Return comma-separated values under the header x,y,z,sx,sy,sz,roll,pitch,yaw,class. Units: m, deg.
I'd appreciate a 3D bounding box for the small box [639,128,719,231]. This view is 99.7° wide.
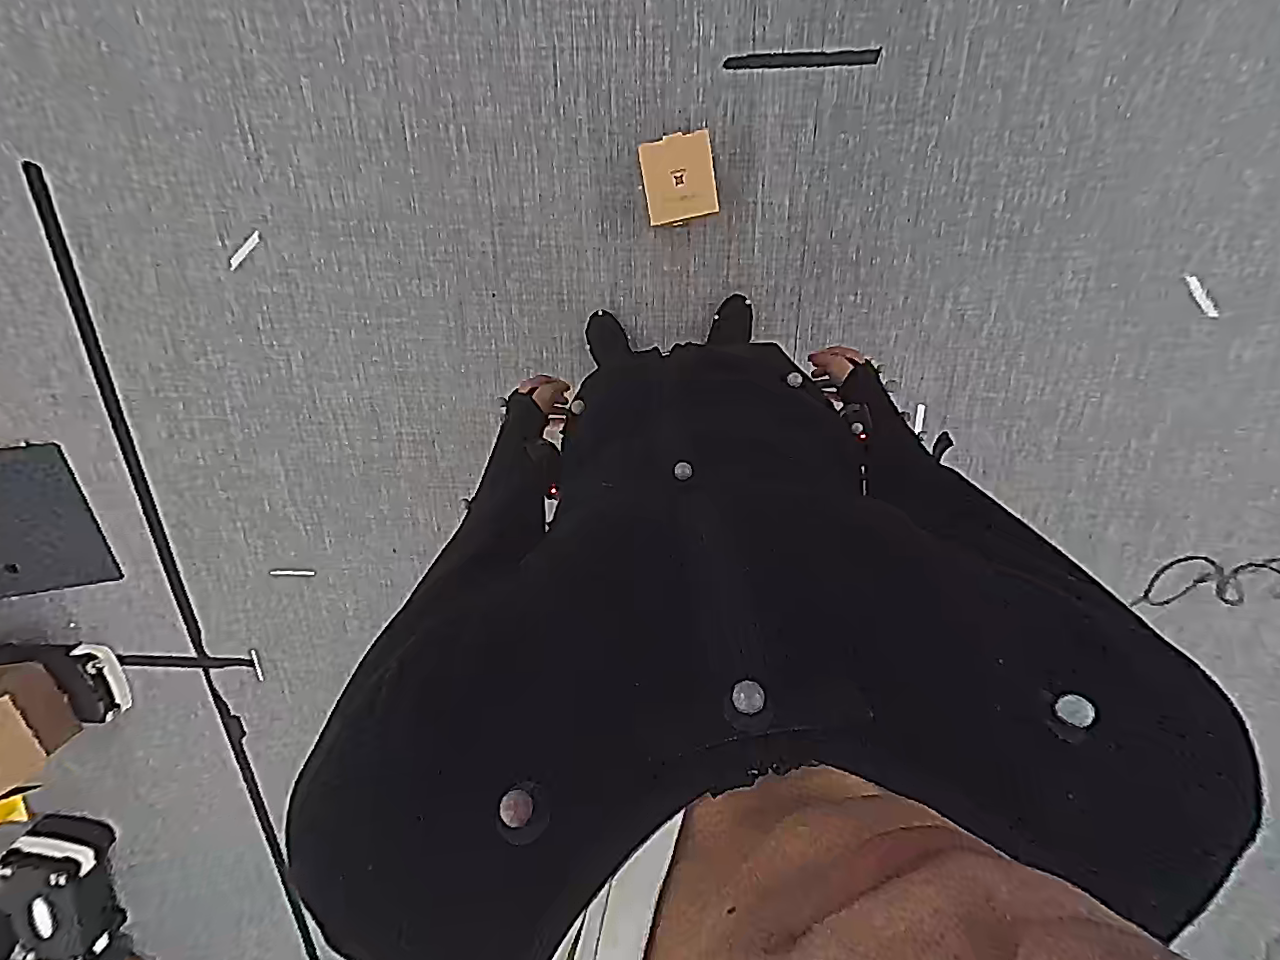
x,y,z,sx,sy,sz,roll,pitch,yaw,class
0.093,-0.724,1.320,0.168,0.176,0.179,-10,110,6,small box
